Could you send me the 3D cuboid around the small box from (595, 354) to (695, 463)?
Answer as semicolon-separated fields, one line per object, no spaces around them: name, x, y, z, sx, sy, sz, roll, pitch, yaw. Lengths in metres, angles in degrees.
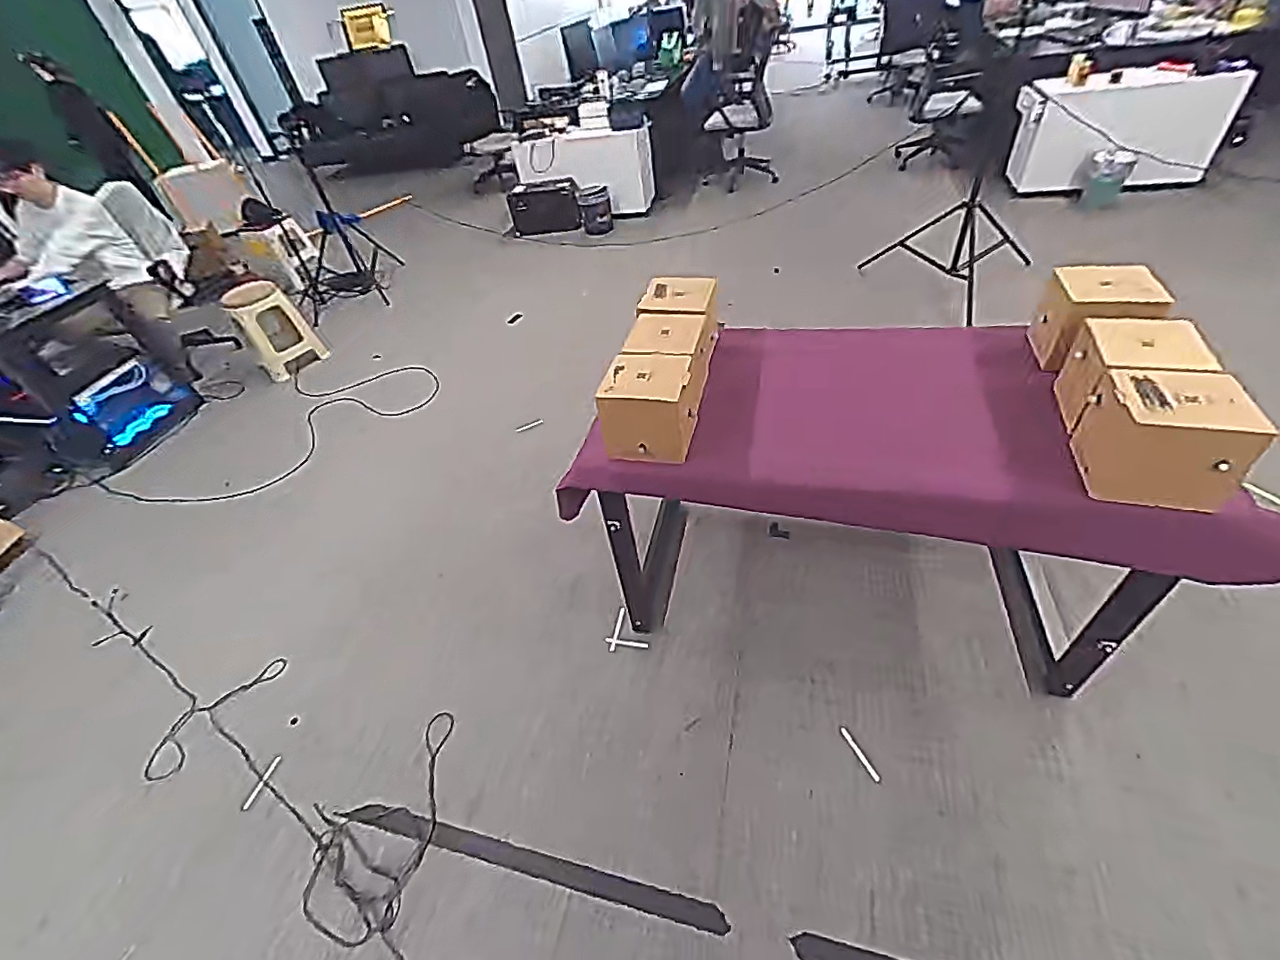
small box;0.021;-0.154;1.175;0.179;0.176;0.168;6;45;15

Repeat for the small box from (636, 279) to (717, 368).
small box;0.103;-0.412;1.423;0.179;0.176;0.168;7;48;16

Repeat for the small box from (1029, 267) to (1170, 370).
small box;0.995;-0.353;1.195;0.179;0.176;0.168;6;47;15

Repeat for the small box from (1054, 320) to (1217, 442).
small box;0.942;-0.192;1.049;0.168;0.176;0.179;8;46;19
